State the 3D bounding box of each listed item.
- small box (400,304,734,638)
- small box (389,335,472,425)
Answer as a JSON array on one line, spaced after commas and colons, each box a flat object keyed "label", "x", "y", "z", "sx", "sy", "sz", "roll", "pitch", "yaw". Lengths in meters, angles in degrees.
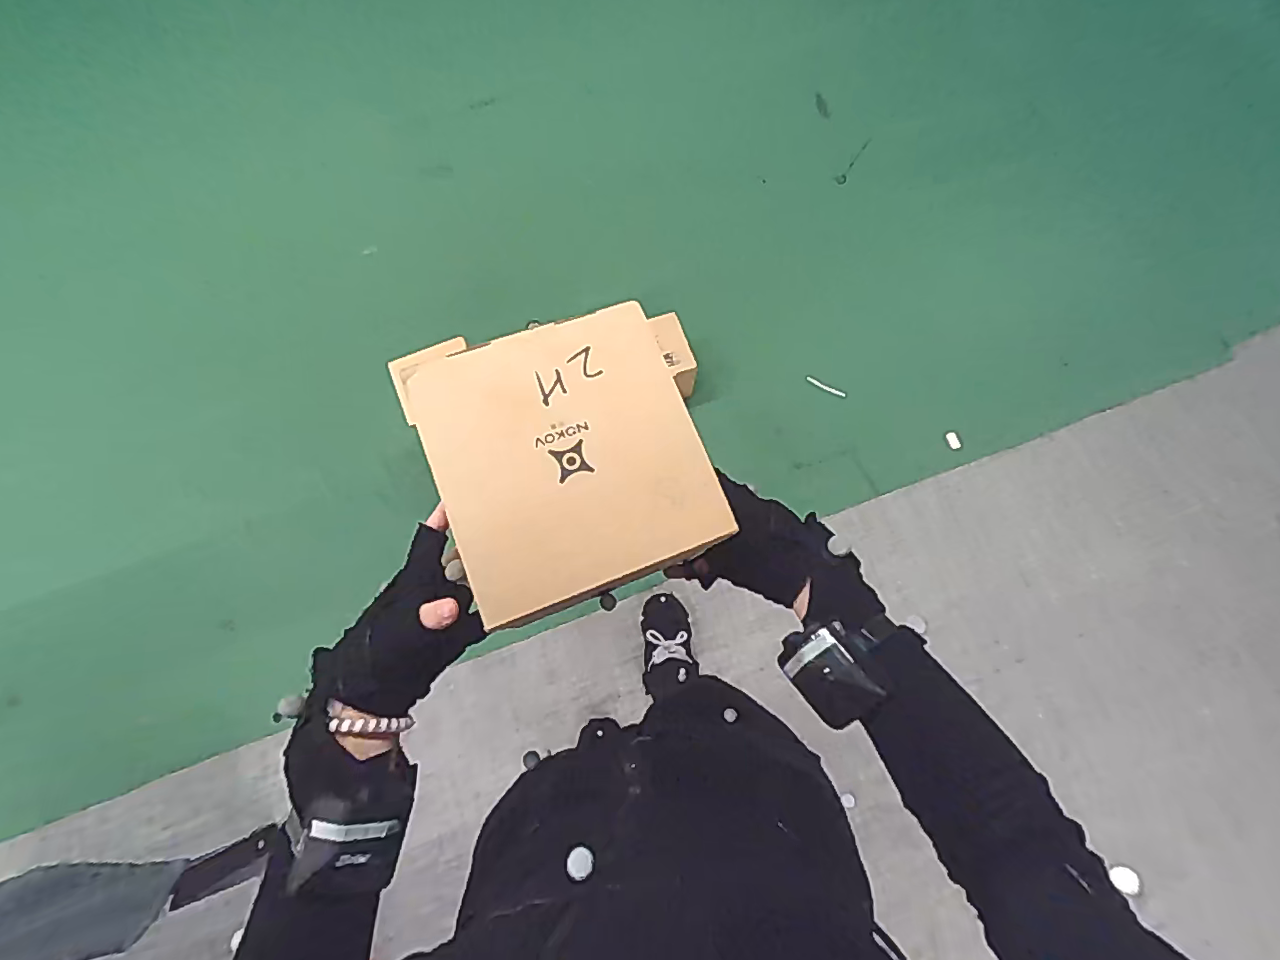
[{"label": "small box", "x": -0.053, "y": 0.004, "z": 0.413, "sx": 0.168, "sy": 0.176, "sz": 0.179, "roll": -20, "pitch": 79, "yaw": -11}, {"label": "small box", "x": -0.439, "y": -0.195, "z": 1.243, "sx": 0.179, "sy": 0.176, "sz": 0.168, "roll": -23, "pitch": 75, "yaw": -7}]
